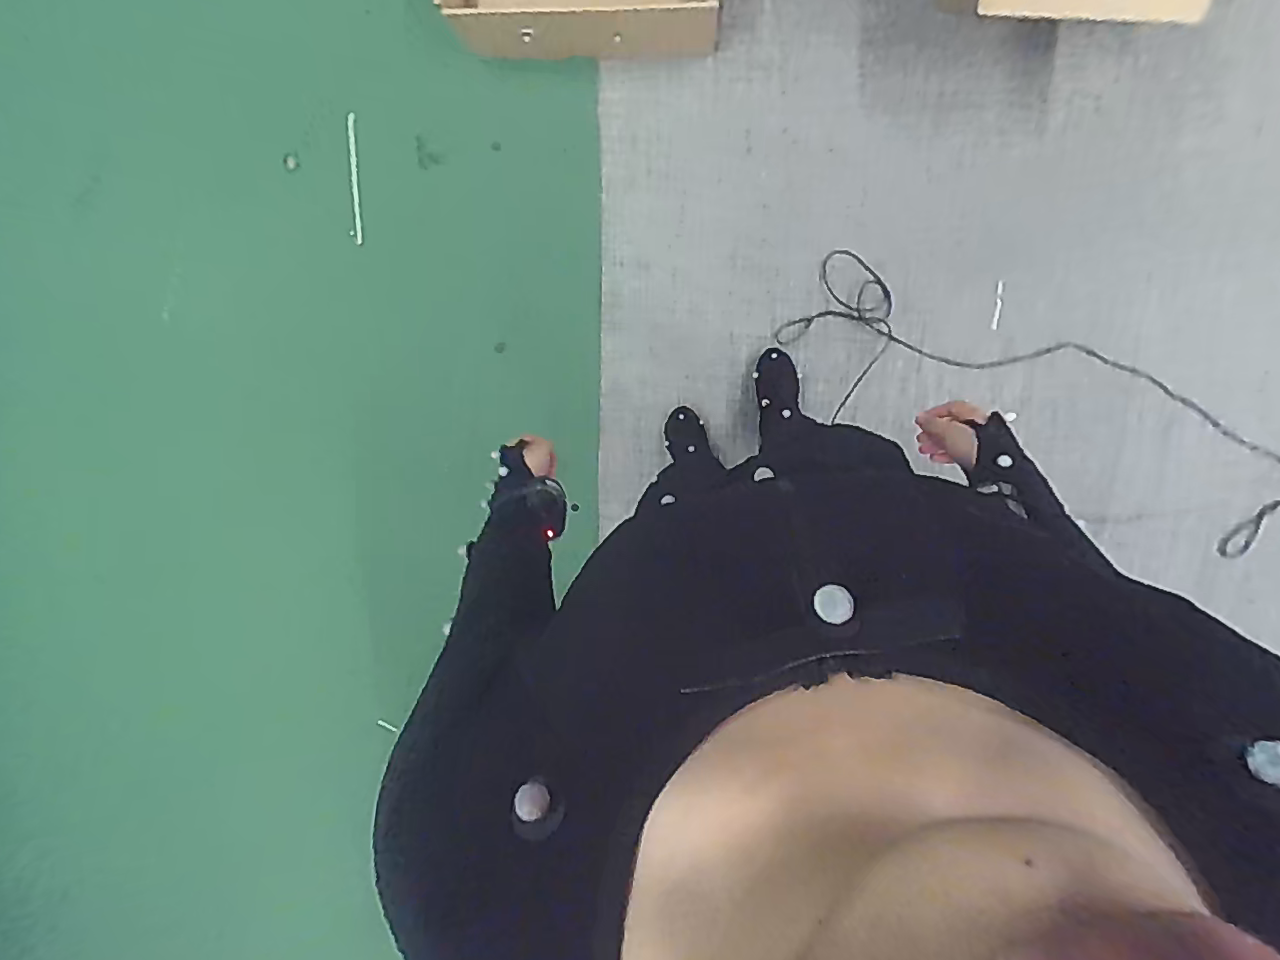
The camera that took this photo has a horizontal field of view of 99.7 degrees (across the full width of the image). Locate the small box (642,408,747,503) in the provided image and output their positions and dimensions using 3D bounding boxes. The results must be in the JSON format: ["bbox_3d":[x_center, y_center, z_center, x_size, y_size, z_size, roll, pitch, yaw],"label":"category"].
[{"bbox_3d":[0.144,-0.065,1.368,0.176,0.168,0.179,35,77,-29],"label":"small box"}]
